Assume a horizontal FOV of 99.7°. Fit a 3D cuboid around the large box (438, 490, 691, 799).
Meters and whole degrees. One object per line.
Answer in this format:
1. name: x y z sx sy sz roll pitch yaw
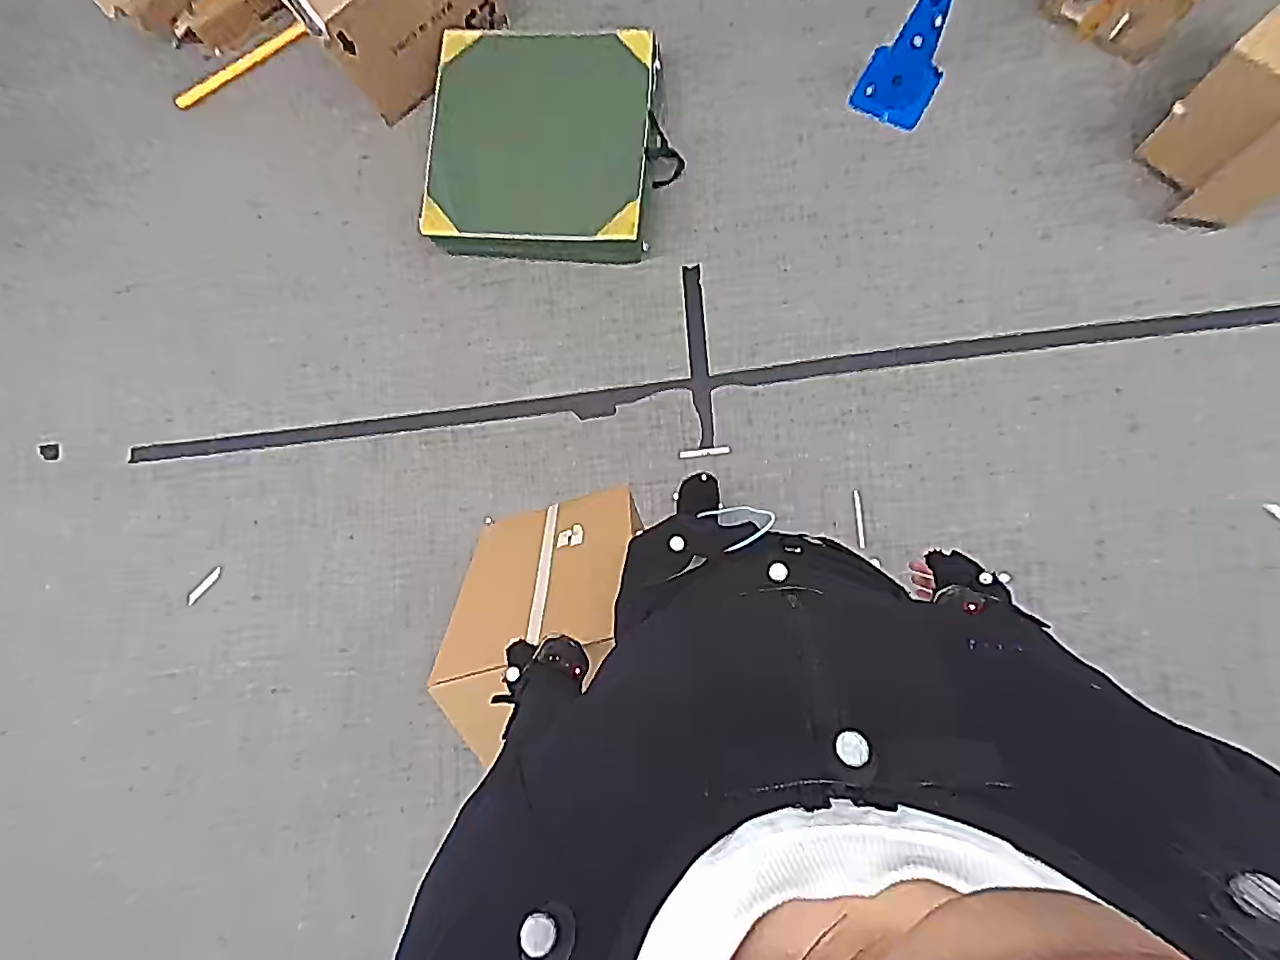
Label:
1. large box: -0.115 0.279 0.993 0.320 0.408 0.320 -15 118 5
